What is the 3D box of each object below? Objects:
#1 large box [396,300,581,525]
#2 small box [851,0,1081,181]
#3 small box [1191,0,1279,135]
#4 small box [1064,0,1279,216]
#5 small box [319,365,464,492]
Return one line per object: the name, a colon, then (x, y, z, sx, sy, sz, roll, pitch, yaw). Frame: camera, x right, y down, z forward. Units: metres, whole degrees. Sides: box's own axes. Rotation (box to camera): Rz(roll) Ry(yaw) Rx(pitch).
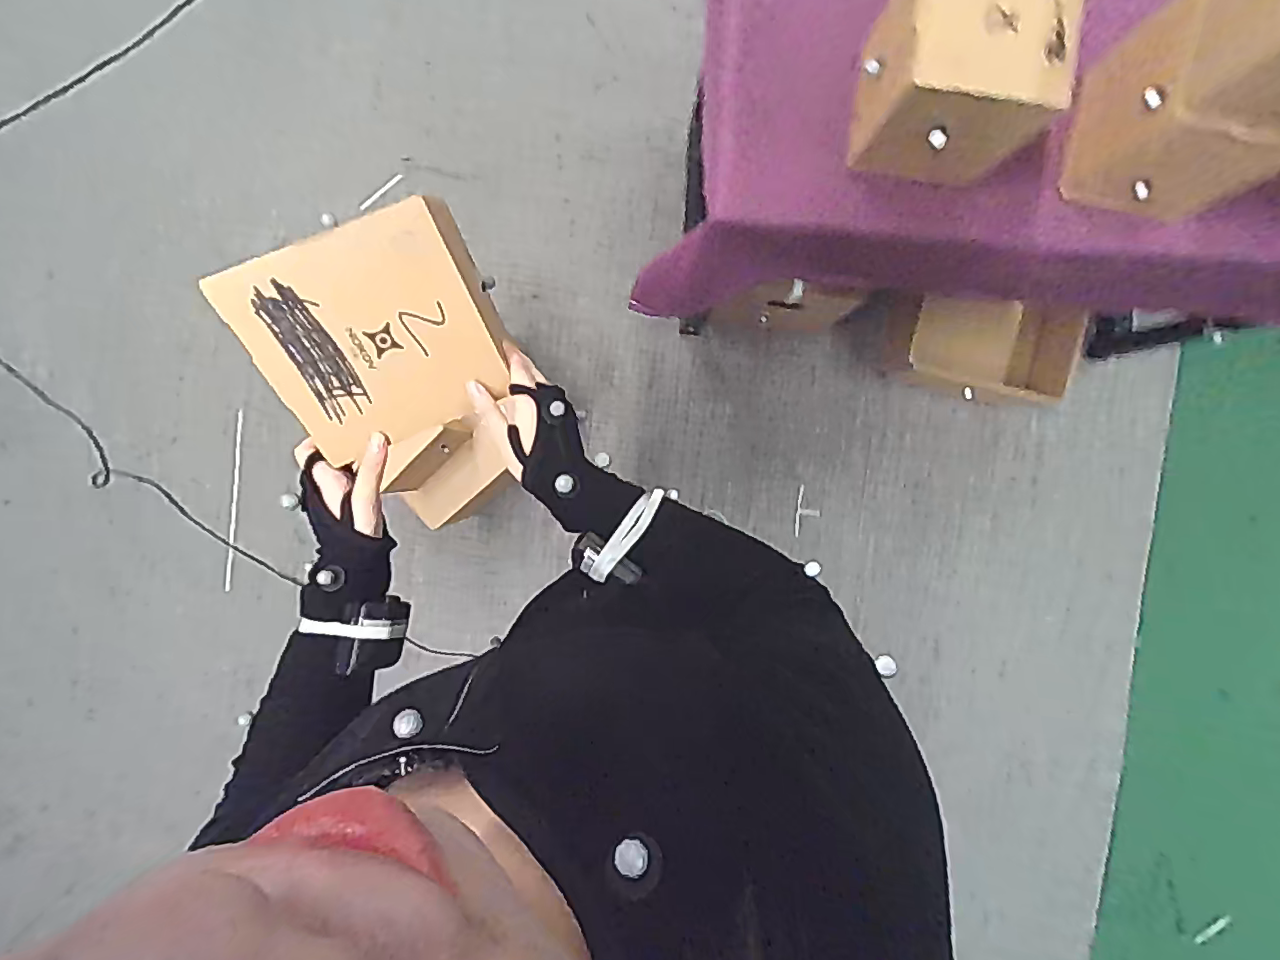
large box: (-0.400, -0.146, 1.313, 0.408, 0.320, 0.320, -41, 93, 0)
small box: (0.376, -0.489, 0.651, 0.179, 0.176, 0.168, 7, 93, -1)
small box: (0.678, -0.459, 0.496, 0.168, 0.176, 0.179, 13, 93, -1)
small box: (0.672, -0.460, 0.661, 0.168, 0.176, 0.179, 12, 93, -1)
small box: (-0.472, -0.097, 1.067, 0.179, 0.176, 0.168, -45, 91, 1)
